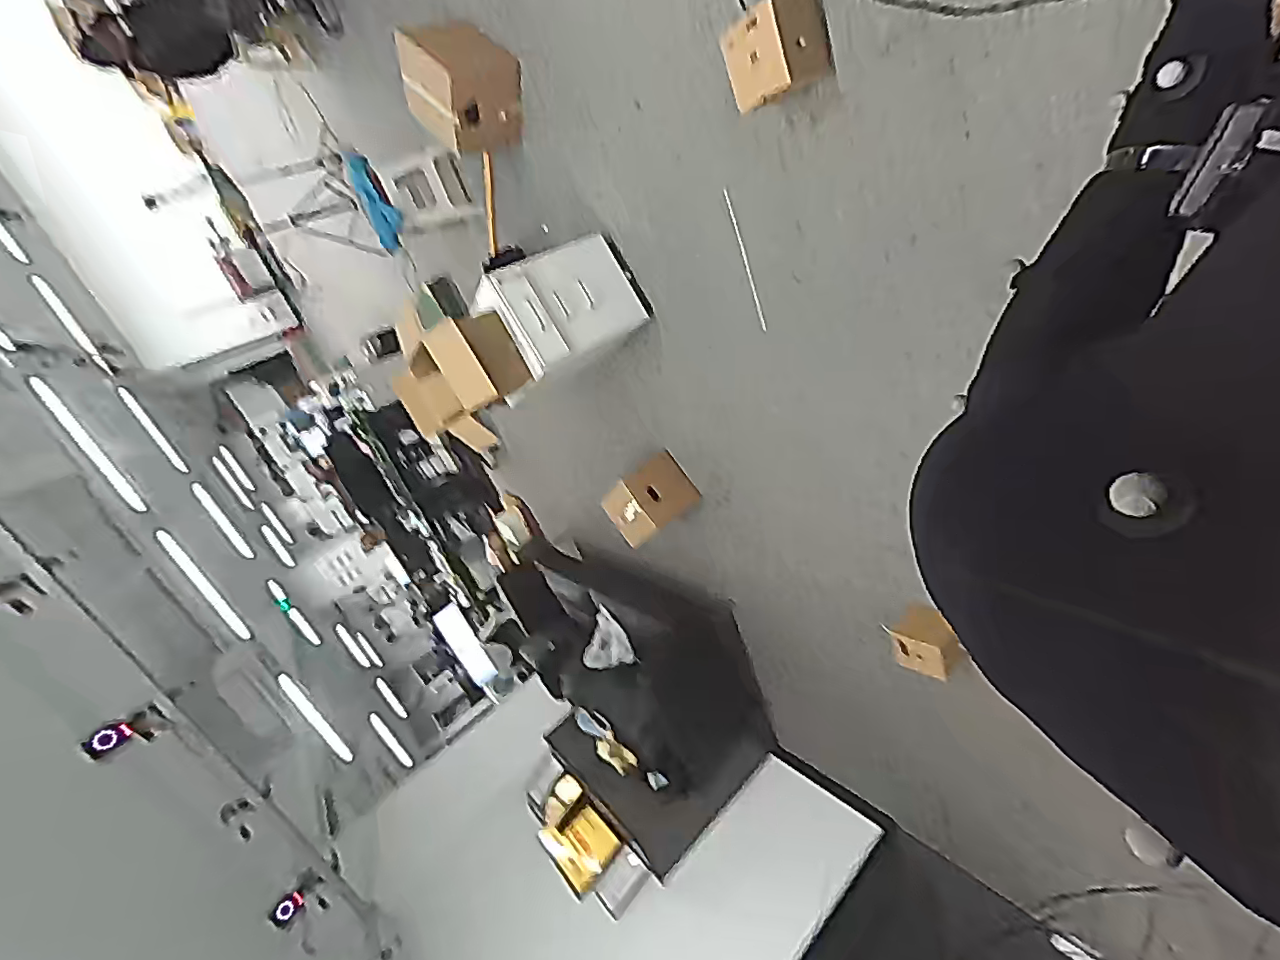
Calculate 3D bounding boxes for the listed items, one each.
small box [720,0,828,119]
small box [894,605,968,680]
[{"bbox_3d":[0.334,-1.035,1.328,0.168,0.176,0.179,7,127,55],"label":"small box"},{"bbox_3d":[1.056,0.578,1.959,0.179,0.176,0.168,12,130,53],"label":"small box"}]
